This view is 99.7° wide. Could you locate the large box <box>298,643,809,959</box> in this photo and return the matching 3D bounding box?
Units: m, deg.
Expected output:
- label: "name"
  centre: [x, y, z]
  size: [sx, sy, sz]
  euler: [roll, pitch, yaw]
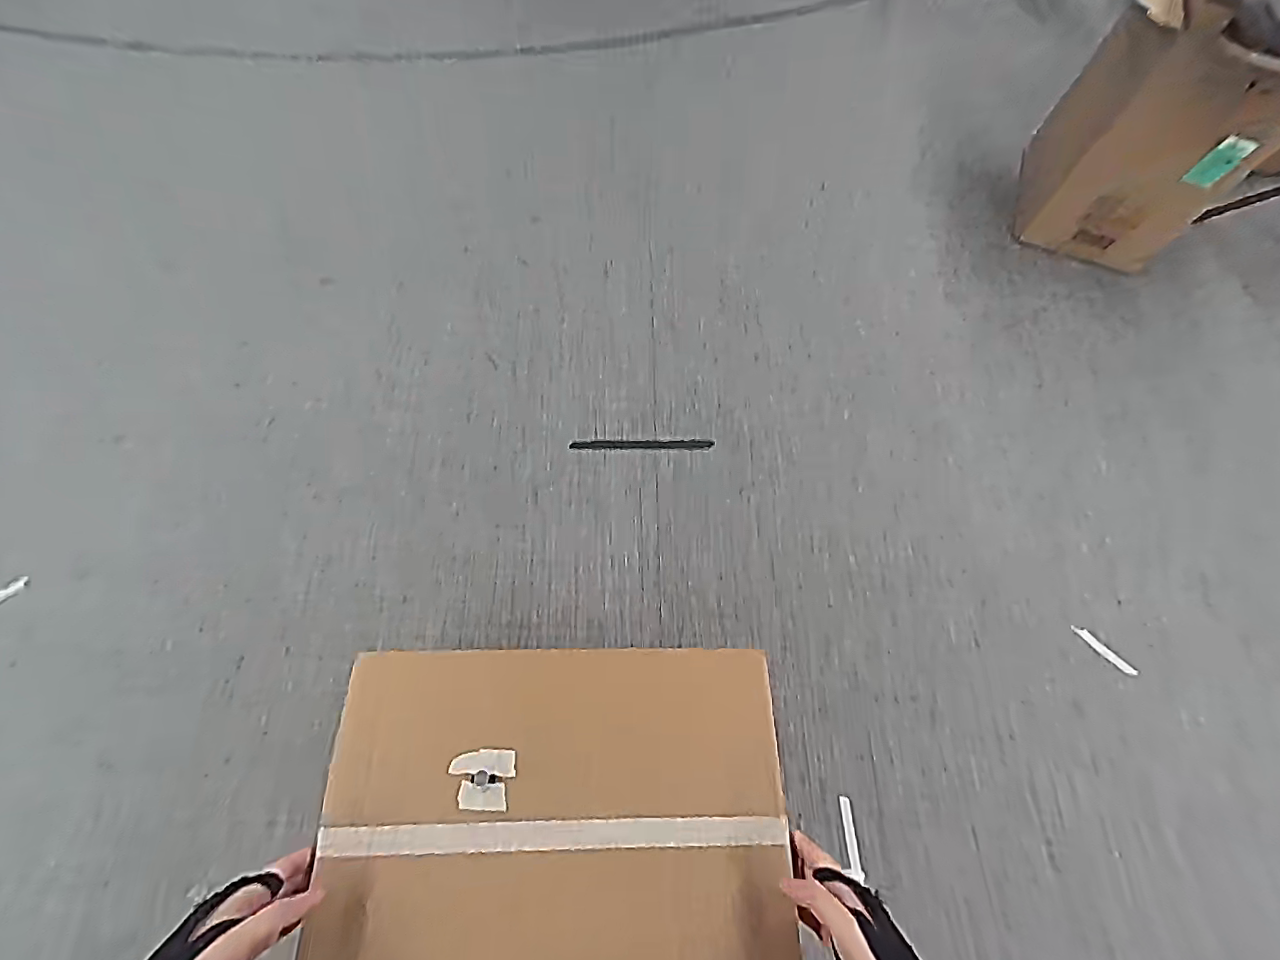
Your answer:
- label: "large box"
  centre: [-0.068, 0.367, 0.590]
  size: [0.408, 0.320, 0.320]
  euler: [-1, 63, -1]
